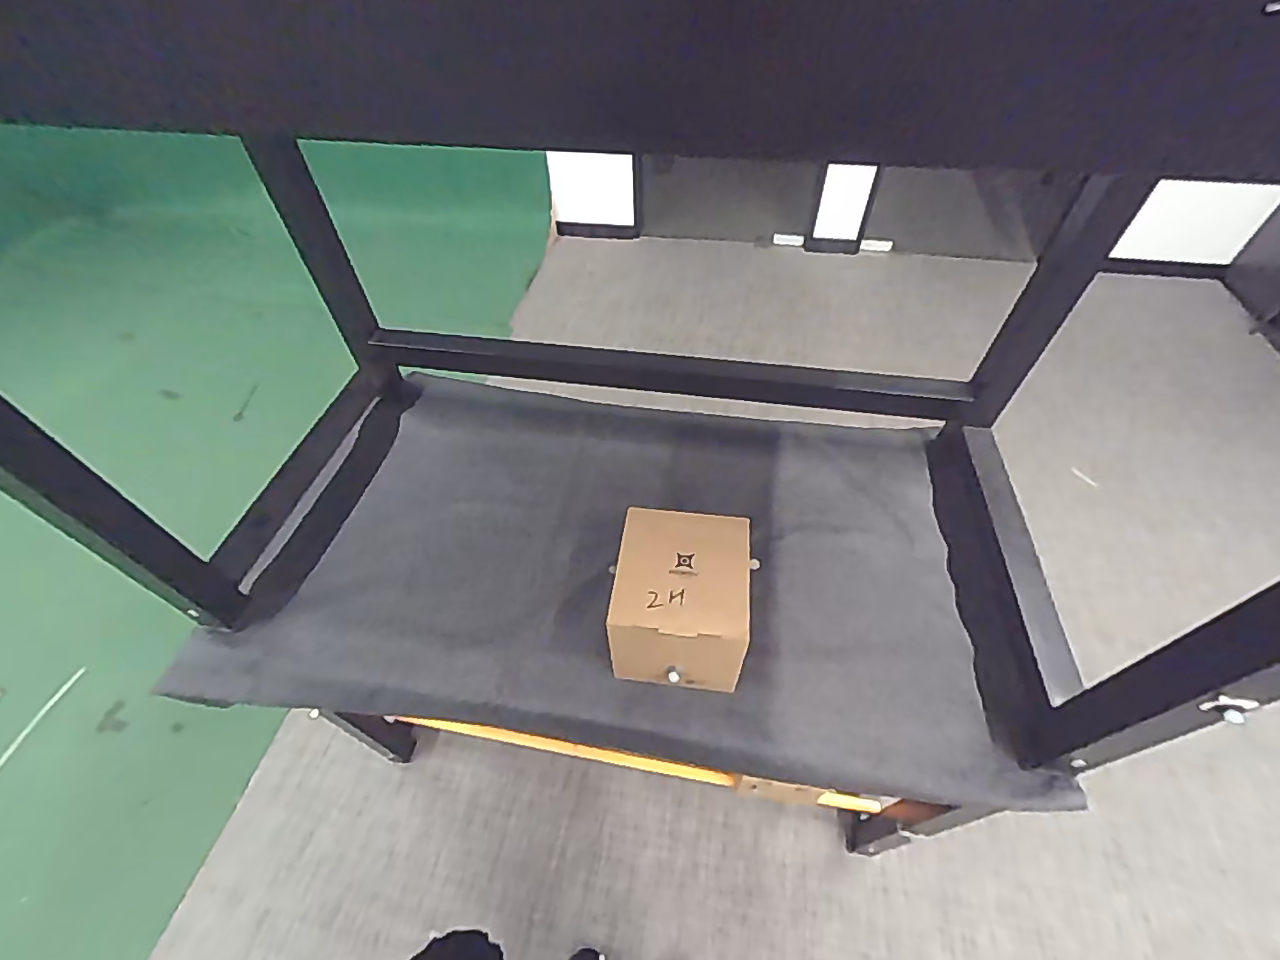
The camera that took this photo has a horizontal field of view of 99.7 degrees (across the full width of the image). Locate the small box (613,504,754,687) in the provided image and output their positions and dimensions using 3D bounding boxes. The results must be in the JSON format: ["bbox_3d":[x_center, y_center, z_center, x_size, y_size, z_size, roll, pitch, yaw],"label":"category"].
[{"bbox_3d":[0.060,0.158,0.740,0.168,0.176,0.179,5,49,6],"label":"small box"}]
